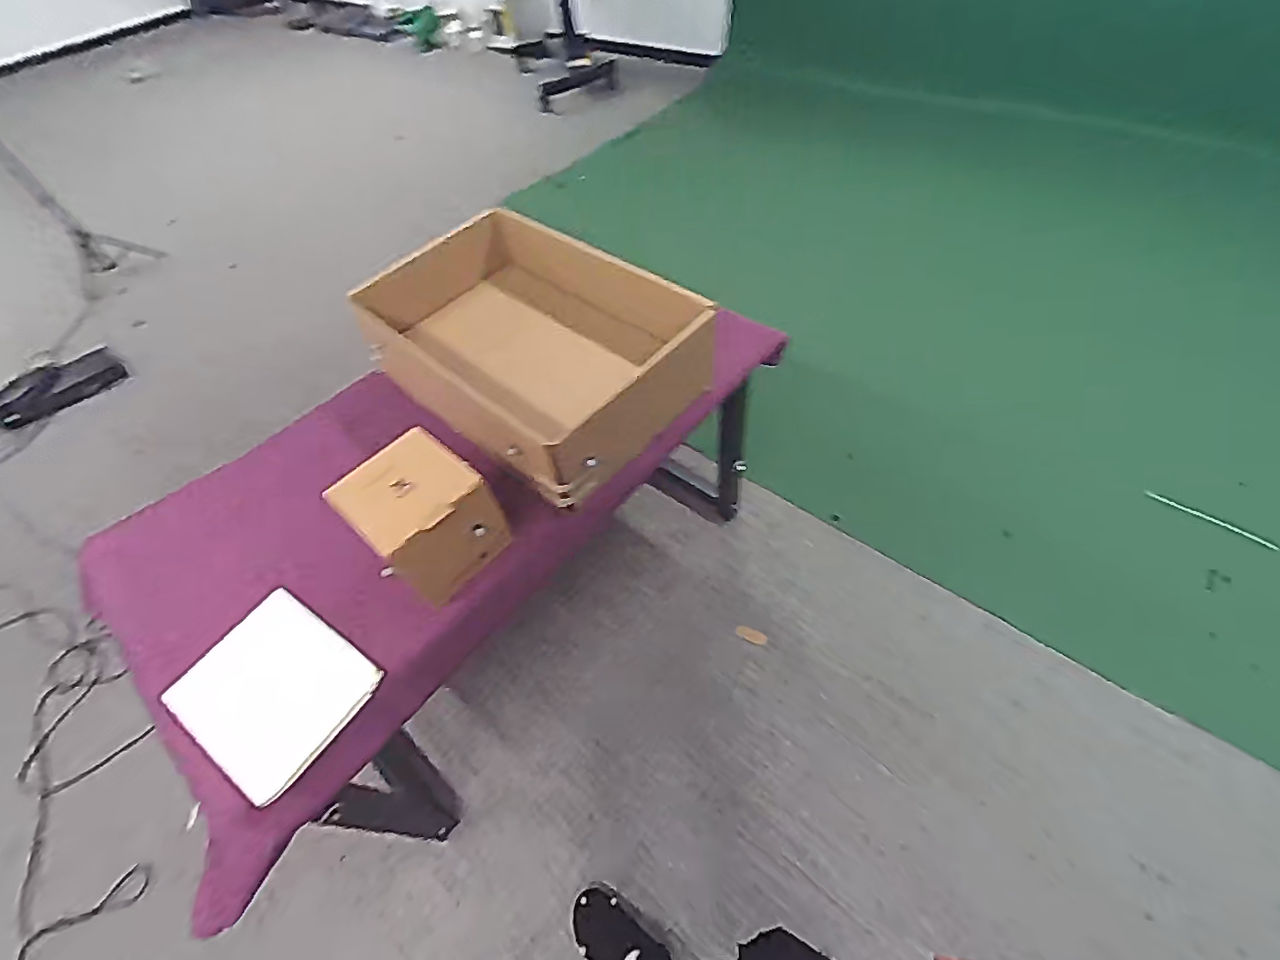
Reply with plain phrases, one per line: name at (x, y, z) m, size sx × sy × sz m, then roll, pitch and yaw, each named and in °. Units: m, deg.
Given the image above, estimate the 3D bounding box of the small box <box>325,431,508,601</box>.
small box at (-0.333, 0.063, 0.839) m, size 0.179 × 0.176 × 0.168 m, roll 33°, pitch 62°, yaw 29°
